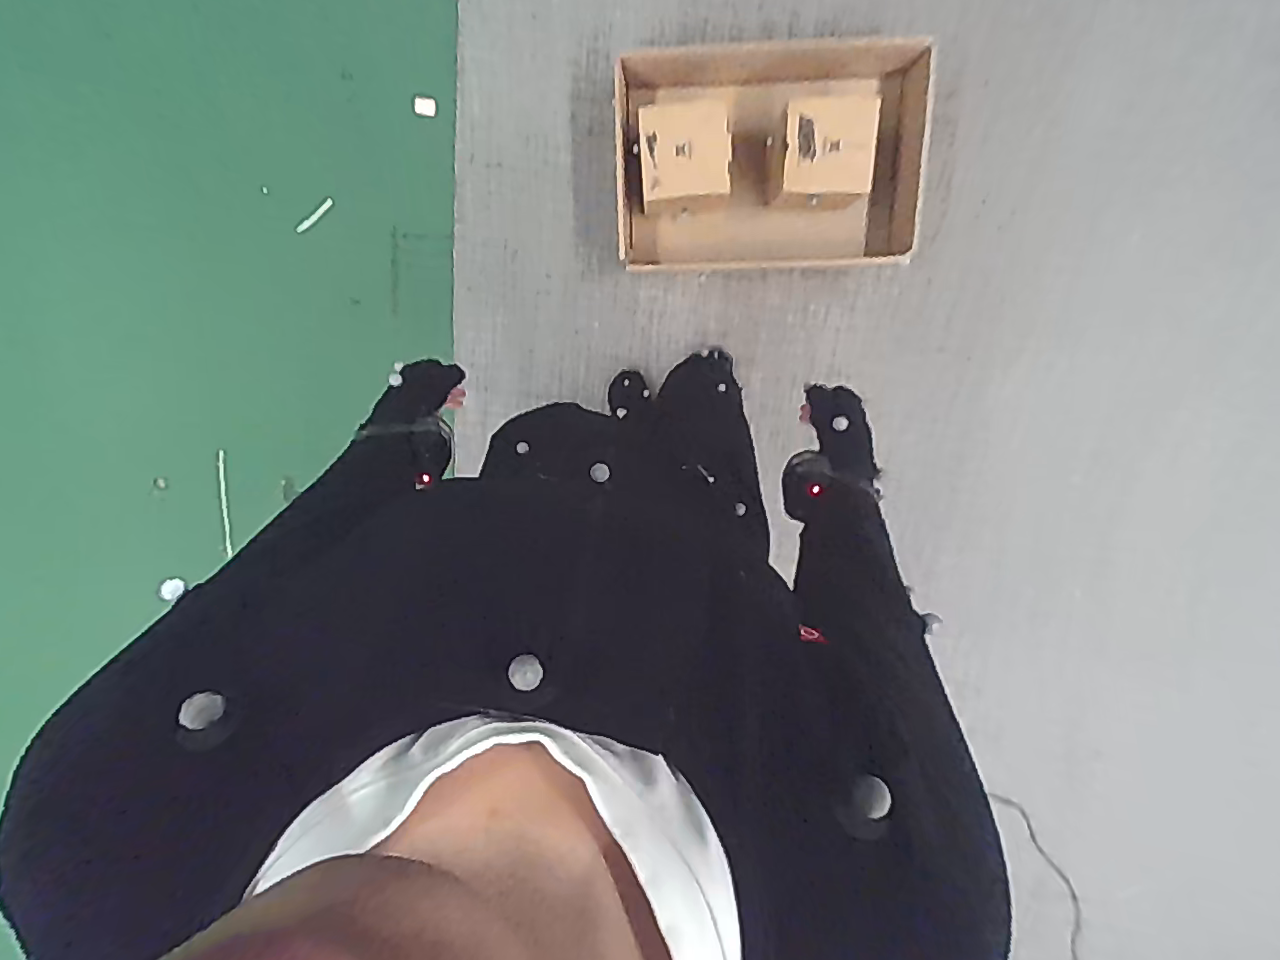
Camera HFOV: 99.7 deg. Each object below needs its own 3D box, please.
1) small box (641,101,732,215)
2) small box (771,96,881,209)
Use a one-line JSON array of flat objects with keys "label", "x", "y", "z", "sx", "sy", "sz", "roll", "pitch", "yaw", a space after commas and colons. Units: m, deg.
[{"label": "small box", "x": 0.094, "y": -0.668, "z": 1.139, "sx": 0.179, "sy": 0.176, "sz": 0.168, "roll": -4, "pitch": 105, "yaw": 2}, {"label": "small box", "x": 0.375, "y": -0.671, "z": 1.125, "sx": 0.179, "sy": 0.176, "sz": 0.168, "roll": 2, "pitch": 106, "yaw": 3}]
